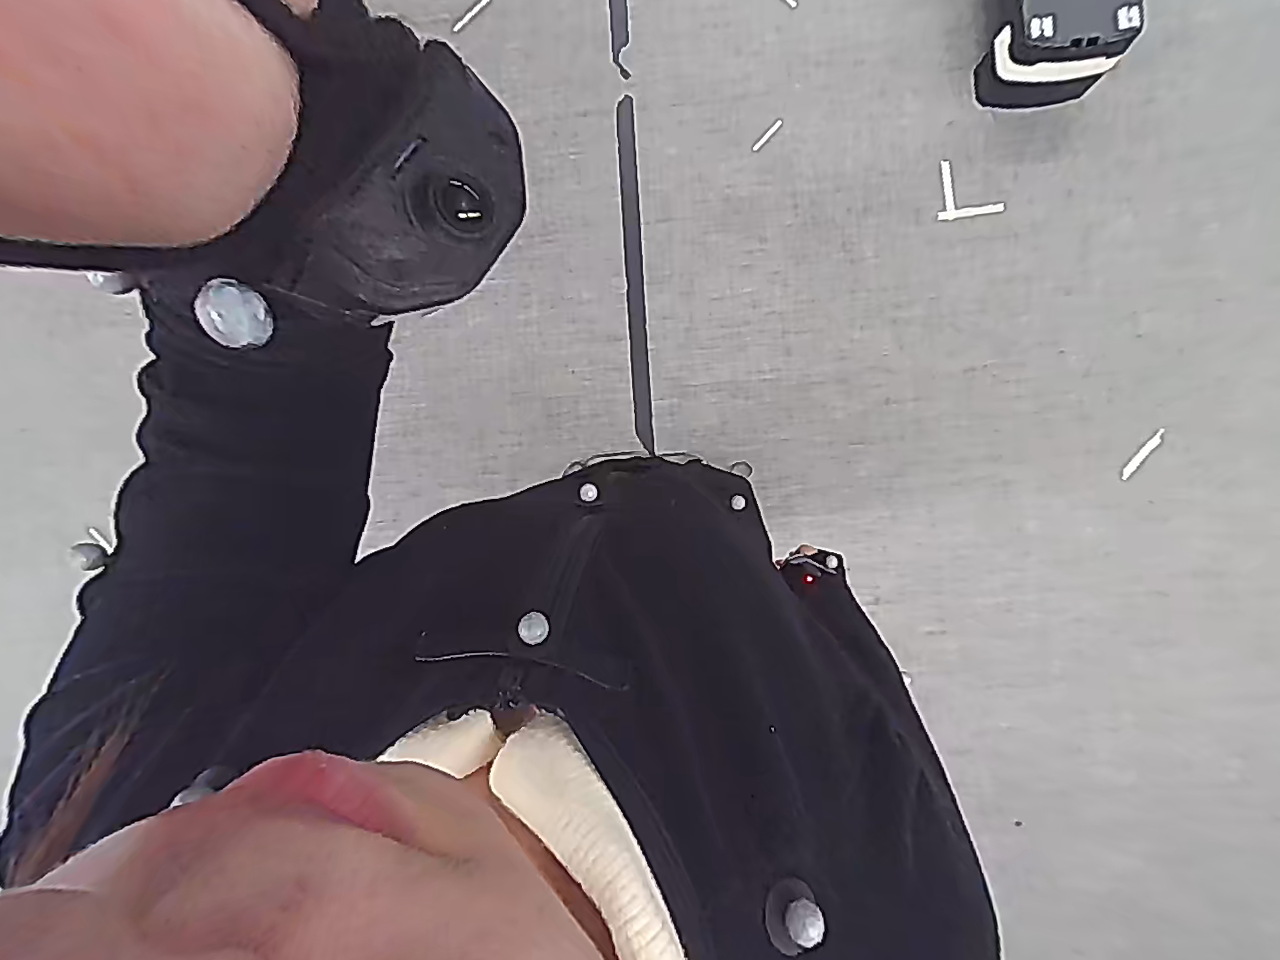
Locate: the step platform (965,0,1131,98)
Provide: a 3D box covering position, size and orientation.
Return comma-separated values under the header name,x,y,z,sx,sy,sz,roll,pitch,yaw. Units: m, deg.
name,x,y,z,sx,sy,sz,roll,pitch,yaw
step platform,1.015,-1.358,1.346,0.286,0.204,0.684,2,89,3
